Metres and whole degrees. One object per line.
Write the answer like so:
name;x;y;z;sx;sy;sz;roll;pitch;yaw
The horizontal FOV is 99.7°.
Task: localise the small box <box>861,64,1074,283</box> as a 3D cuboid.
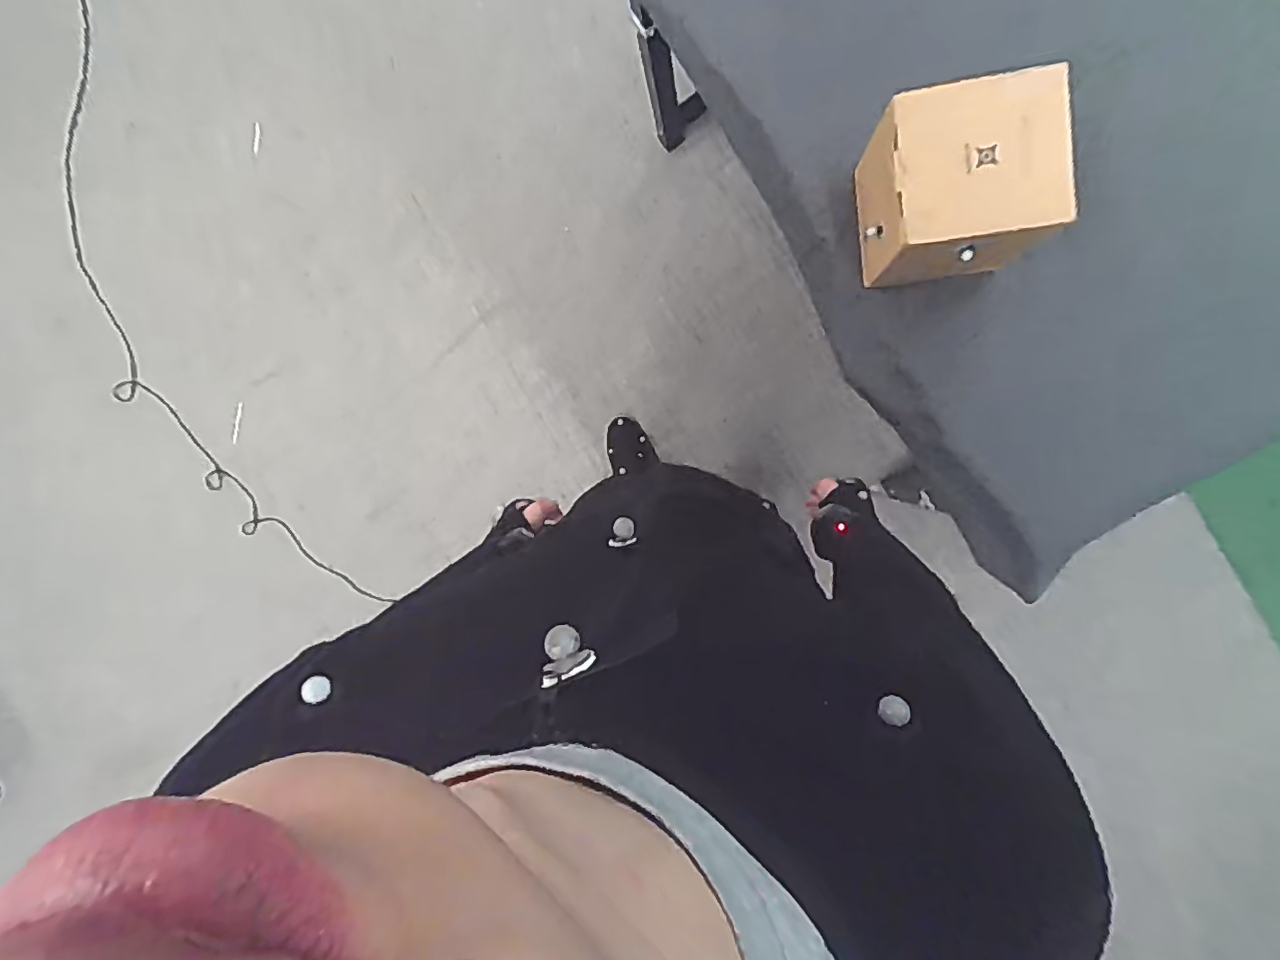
small box;0.380;-0.354;0.662;0.179;0.176;0.168;-6;94;8
